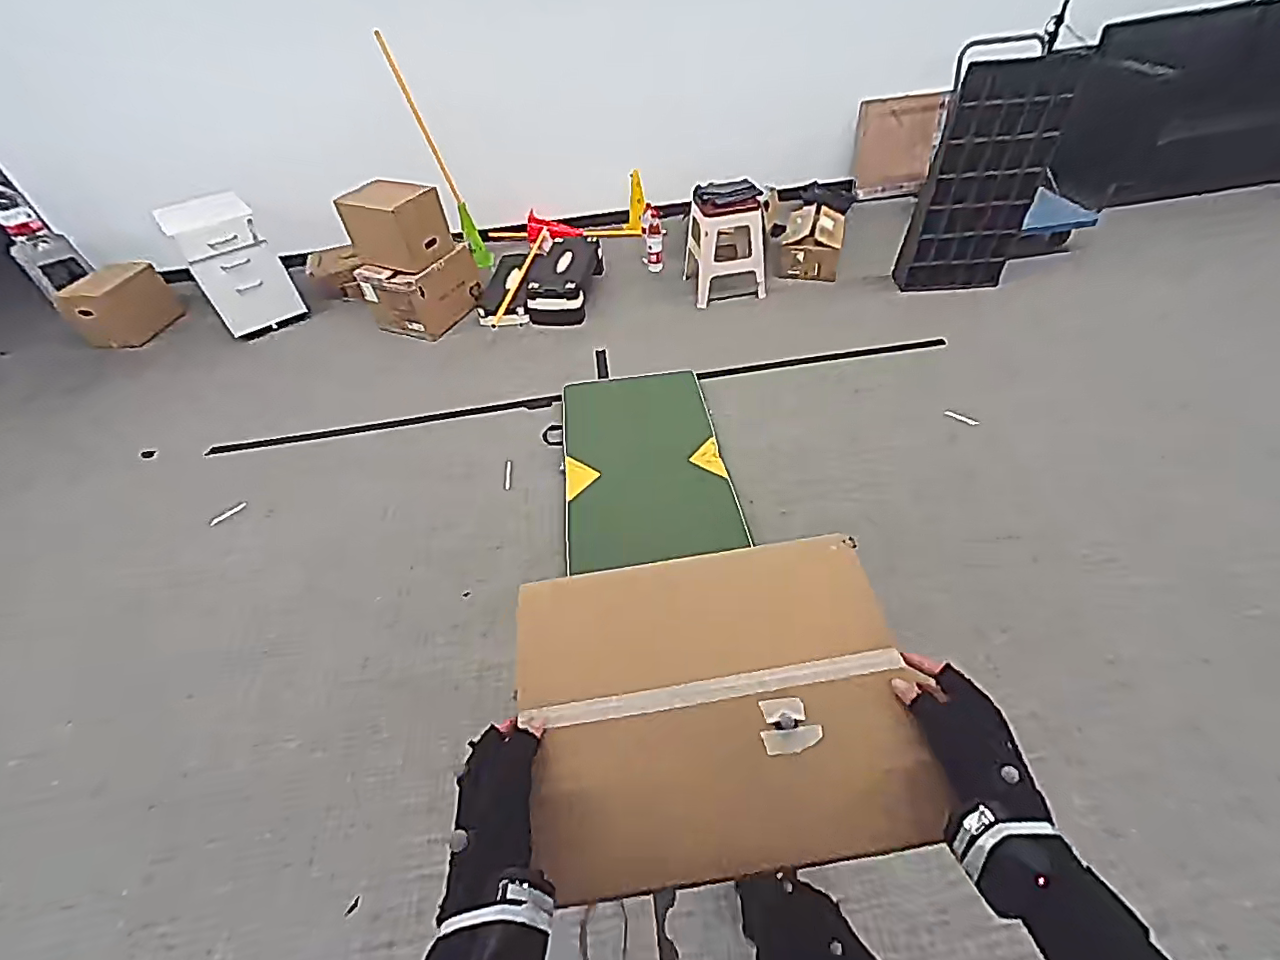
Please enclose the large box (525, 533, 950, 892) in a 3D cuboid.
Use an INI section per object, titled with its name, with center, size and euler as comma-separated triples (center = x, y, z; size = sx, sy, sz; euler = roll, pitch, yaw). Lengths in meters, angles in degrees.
[large box]
center = 0.085, 0.309, 0.705
size = 0.408, 0.320, 0.320
euler = -9, 54, -2
